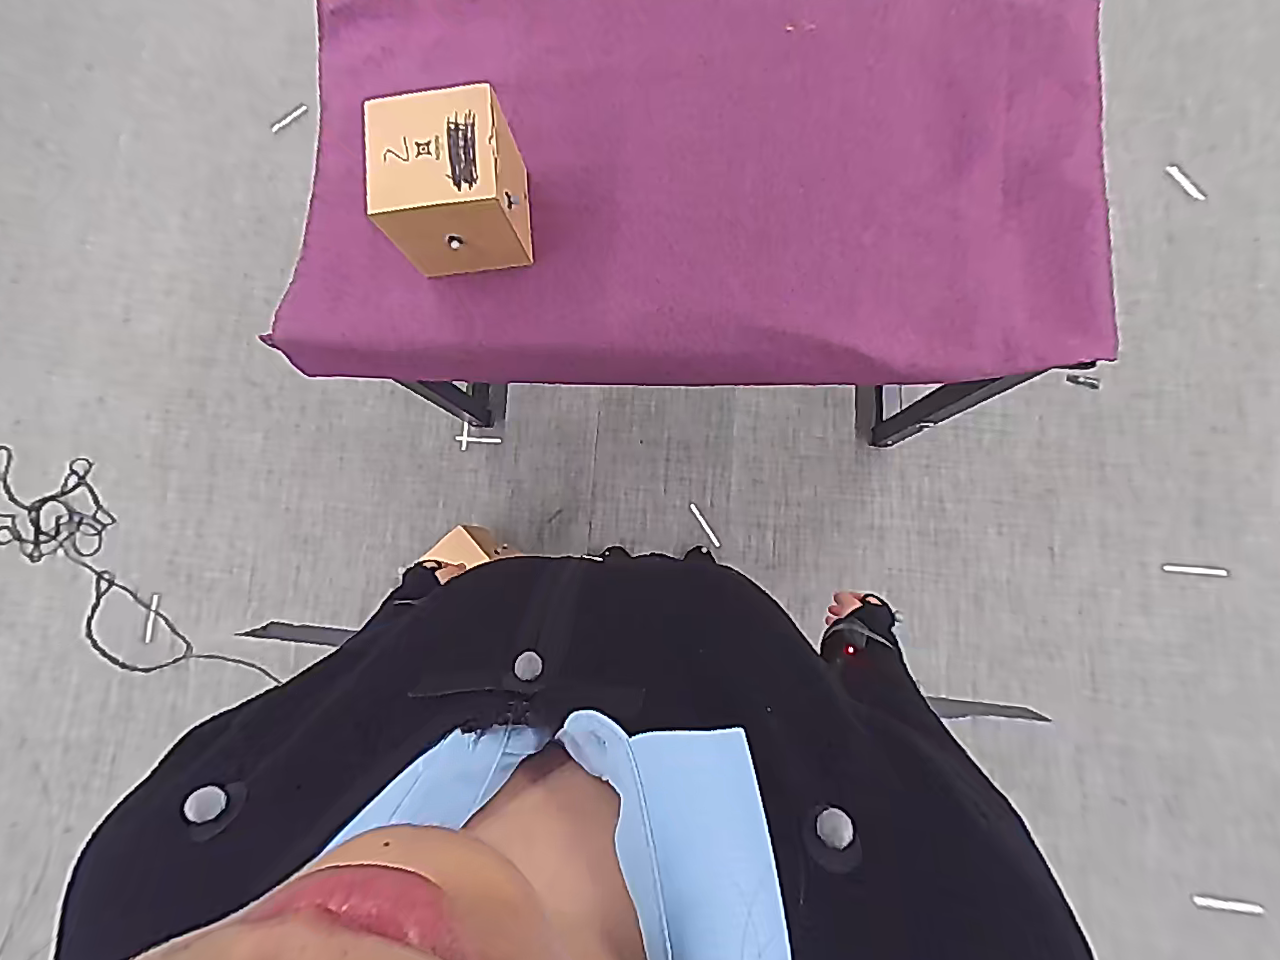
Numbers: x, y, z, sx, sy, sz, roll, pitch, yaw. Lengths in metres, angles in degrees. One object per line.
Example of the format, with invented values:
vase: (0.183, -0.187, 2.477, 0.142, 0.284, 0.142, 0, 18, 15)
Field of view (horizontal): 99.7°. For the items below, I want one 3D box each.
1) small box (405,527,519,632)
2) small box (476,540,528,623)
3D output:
small box: (-0.408, 0.230, 1.283, 0.179, 0.176, 0.168, -42, 82, -3)
small box: (-0.422, 0.259, 1.447, 0.168, 0.176, 0.179, 26, 85, 6)
